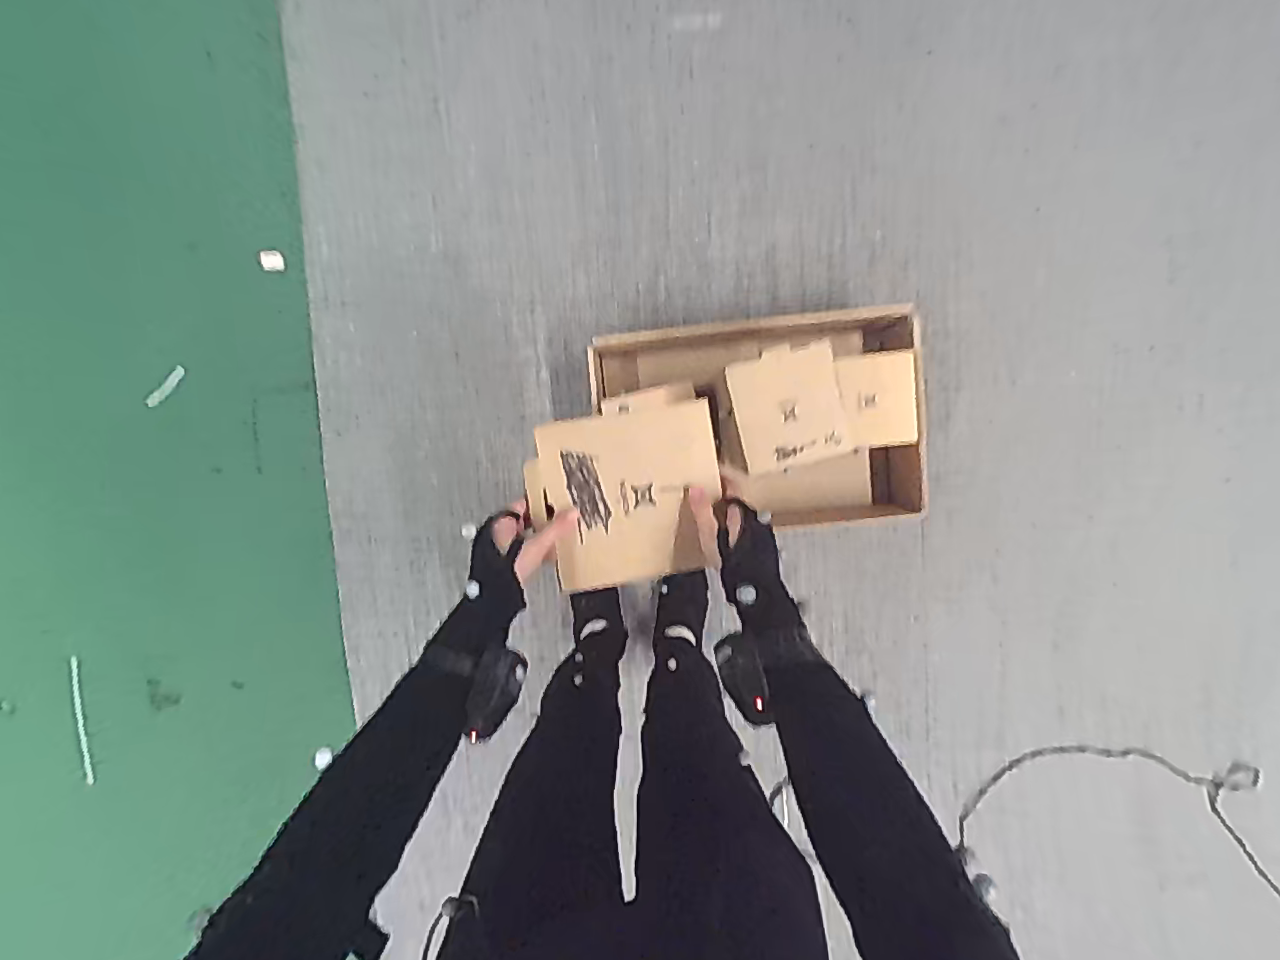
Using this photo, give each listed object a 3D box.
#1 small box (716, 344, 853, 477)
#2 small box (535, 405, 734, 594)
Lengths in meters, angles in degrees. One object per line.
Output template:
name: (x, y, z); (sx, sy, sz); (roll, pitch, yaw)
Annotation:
small box: (0.231, -0.111, 0.909); (0.168, 0.176, 0.179); (-14, 94, 3)
small box: (-0.009, 0.019, 0.605); (0.179, 0.176, 0.168); (-10, 91, -5)
